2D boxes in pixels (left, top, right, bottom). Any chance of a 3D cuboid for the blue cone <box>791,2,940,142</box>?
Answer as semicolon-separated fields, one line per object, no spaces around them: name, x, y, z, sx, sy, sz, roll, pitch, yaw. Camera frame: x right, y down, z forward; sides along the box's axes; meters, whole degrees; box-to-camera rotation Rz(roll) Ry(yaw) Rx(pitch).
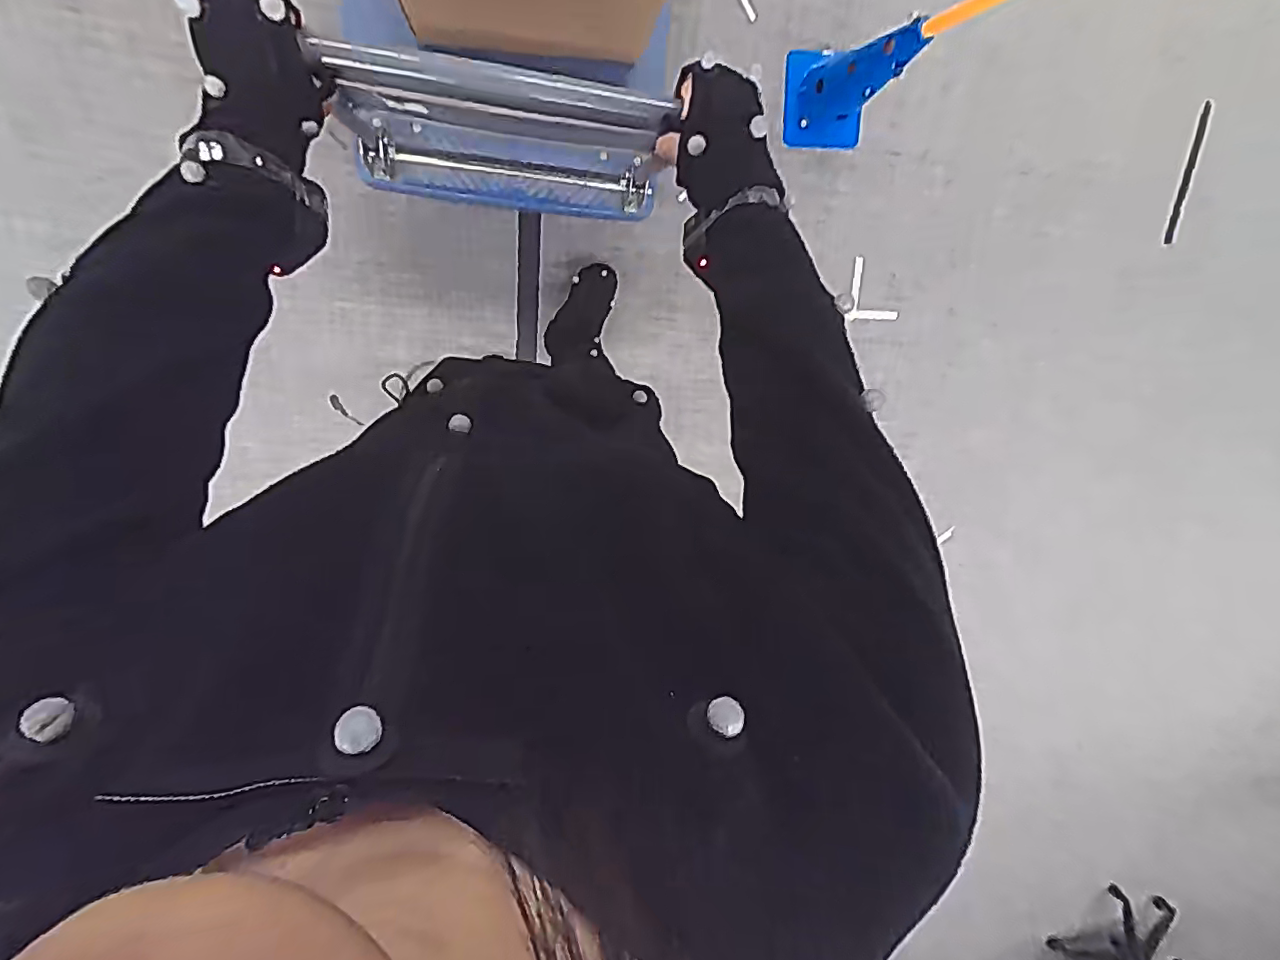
blue cone;0.483;-0.872;1.139;0.193;0.380;0.192;-4;107;-11
